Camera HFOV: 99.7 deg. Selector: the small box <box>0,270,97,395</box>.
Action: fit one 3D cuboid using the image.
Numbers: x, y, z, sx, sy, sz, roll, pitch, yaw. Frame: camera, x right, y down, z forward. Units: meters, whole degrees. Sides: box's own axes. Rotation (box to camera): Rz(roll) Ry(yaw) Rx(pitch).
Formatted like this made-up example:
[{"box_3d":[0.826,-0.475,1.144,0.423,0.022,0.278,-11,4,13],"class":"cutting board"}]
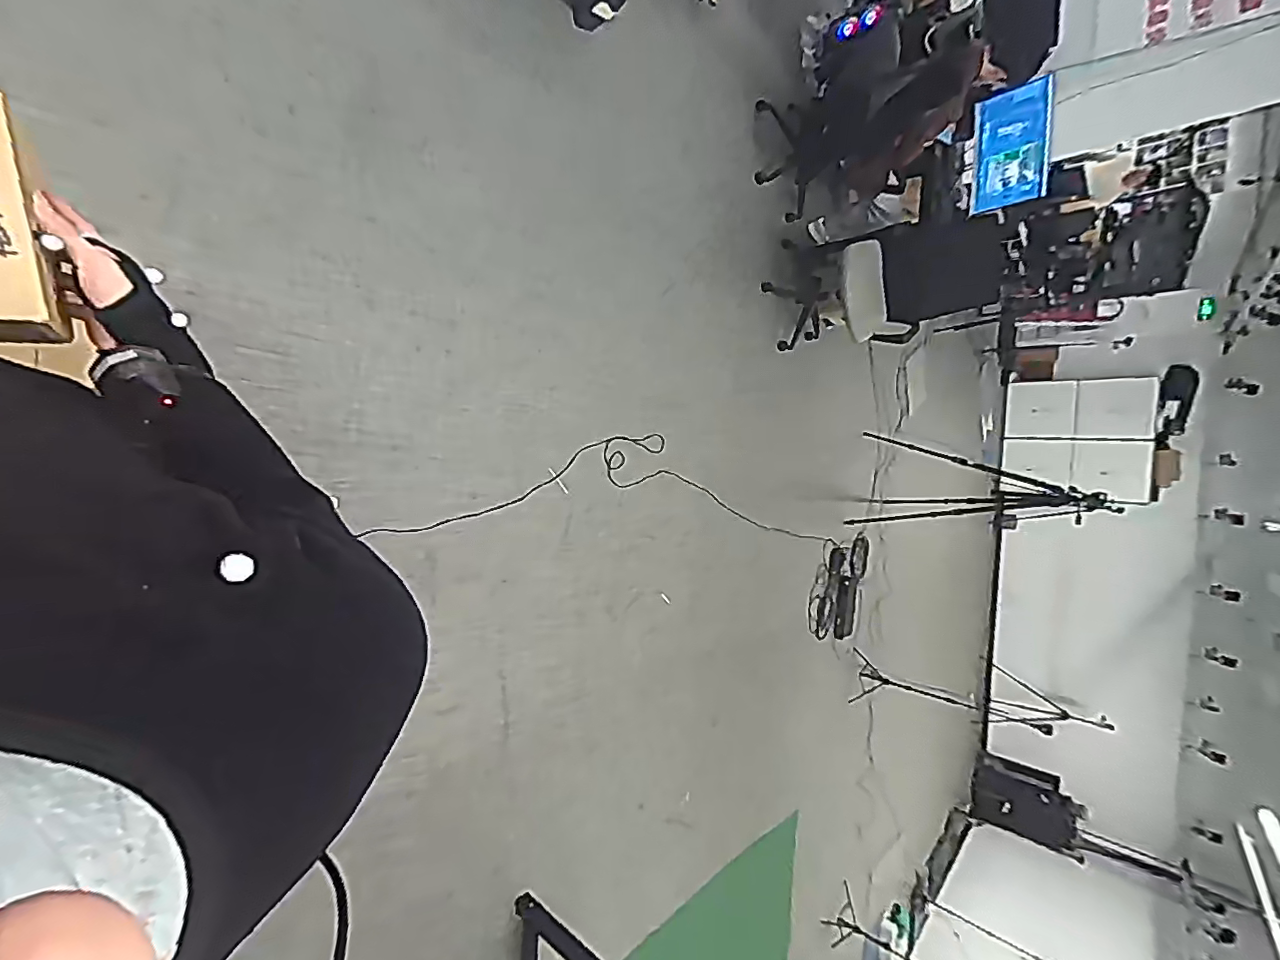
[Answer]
[{"box_3d":[-1.022,-0.237,0.890,0.168,0.176,0.179,-5,97,-47],"class":"small box"}]
